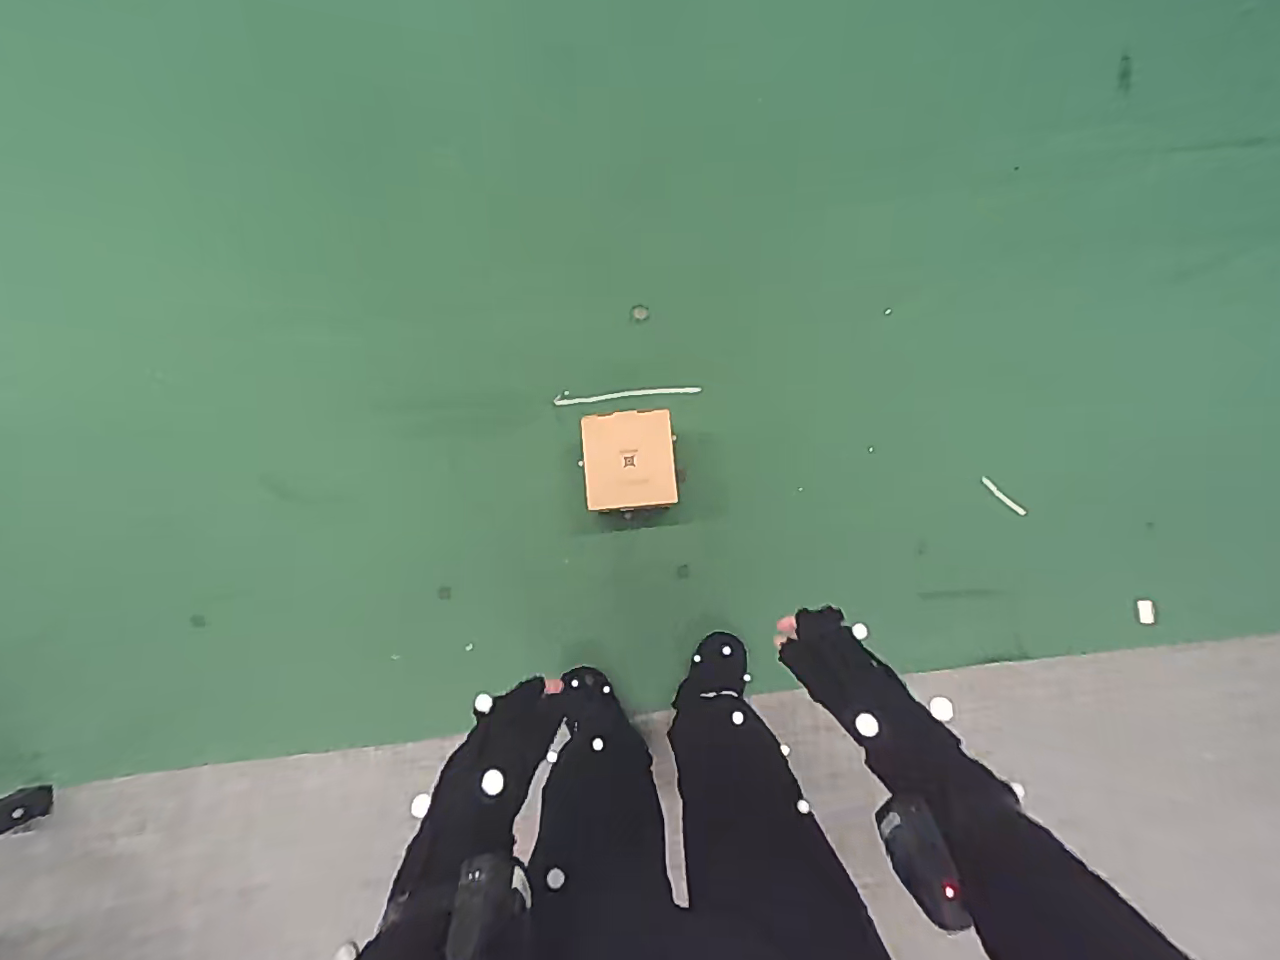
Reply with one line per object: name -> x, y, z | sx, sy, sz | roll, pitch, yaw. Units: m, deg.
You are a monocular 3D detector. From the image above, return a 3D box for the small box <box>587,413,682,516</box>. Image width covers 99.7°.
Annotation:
small box -> -0.012, -0.024, 1.068 | 0.168, 0.176, 0.179 | -6, 85, 0
